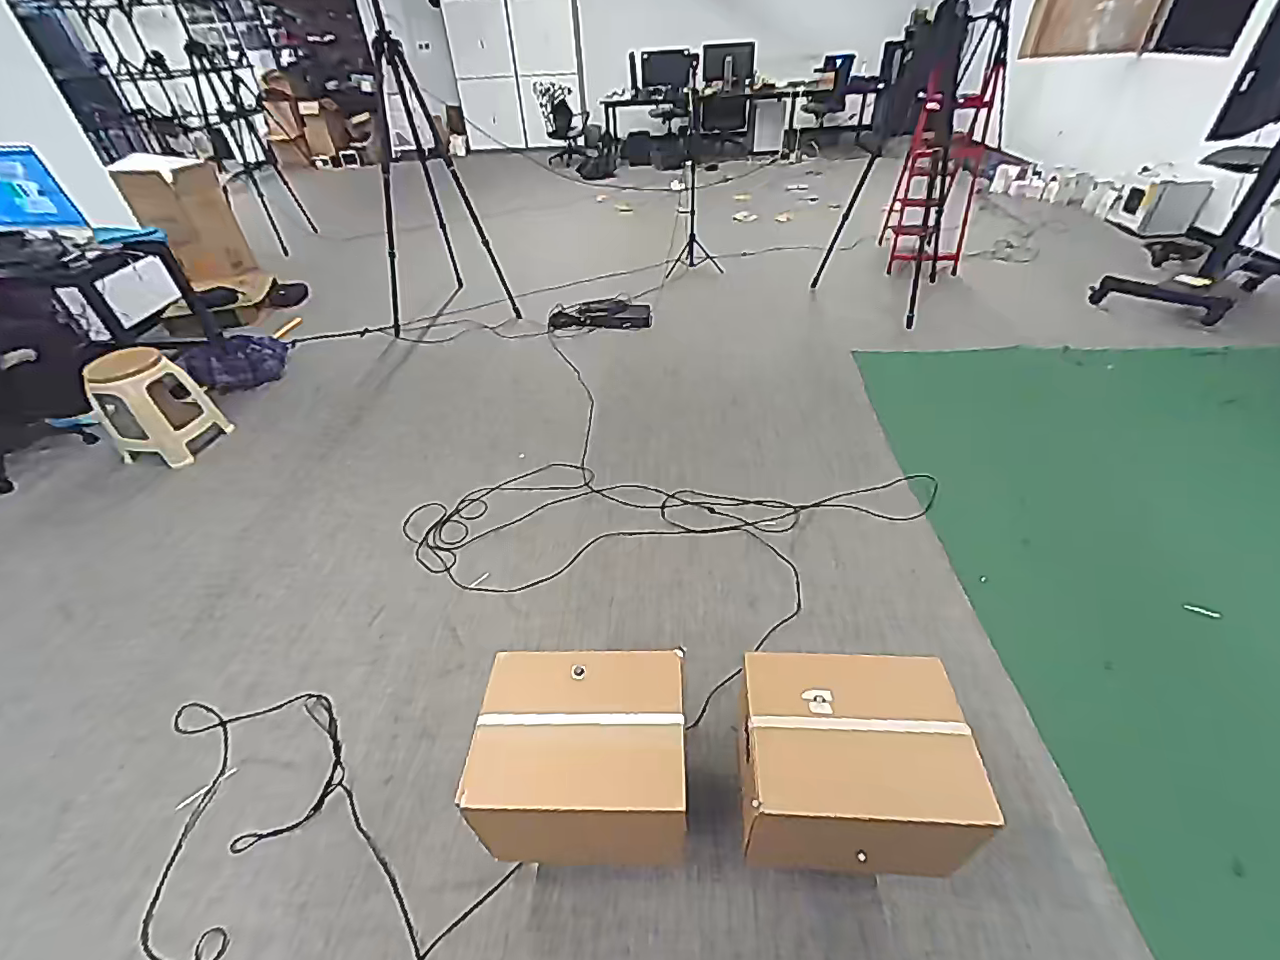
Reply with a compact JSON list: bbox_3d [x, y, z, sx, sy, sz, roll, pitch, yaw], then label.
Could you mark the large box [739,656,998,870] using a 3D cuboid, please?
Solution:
[{"bbox_3d":[0.426,0.589,1.132,0.408,0.320,0.320,0,40,5],"label":"large box"}]
